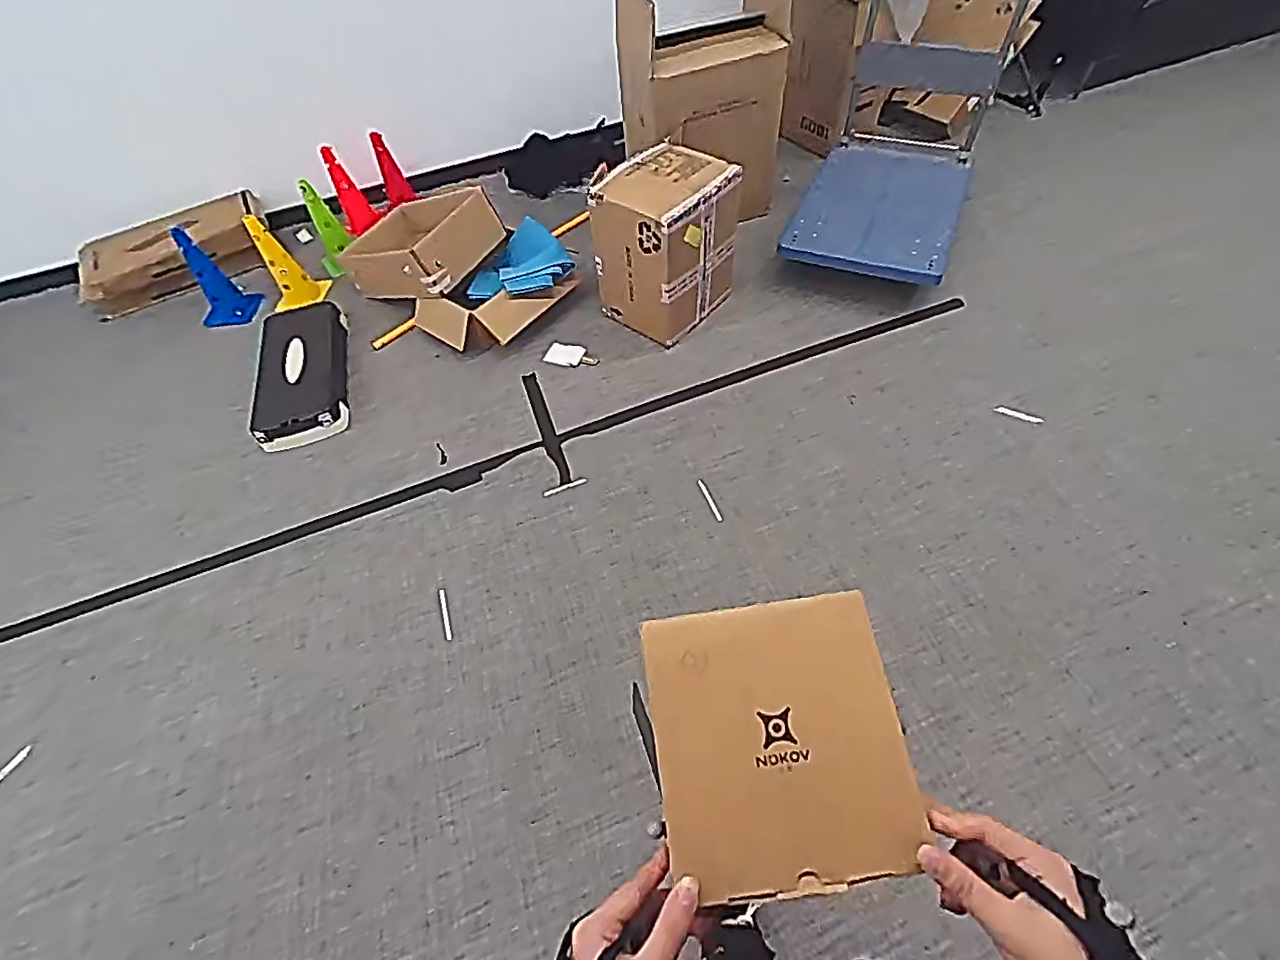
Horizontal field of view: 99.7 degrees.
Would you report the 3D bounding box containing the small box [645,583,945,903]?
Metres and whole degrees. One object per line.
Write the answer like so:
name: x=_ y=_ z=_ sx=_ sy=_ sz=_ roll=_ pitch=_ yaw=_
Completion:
small box: x=0.095 y=0.194 z=0.430 sx=0.168 sy=0.176 sz=0.179 roll=-8 pitch=68 yaw=-1
